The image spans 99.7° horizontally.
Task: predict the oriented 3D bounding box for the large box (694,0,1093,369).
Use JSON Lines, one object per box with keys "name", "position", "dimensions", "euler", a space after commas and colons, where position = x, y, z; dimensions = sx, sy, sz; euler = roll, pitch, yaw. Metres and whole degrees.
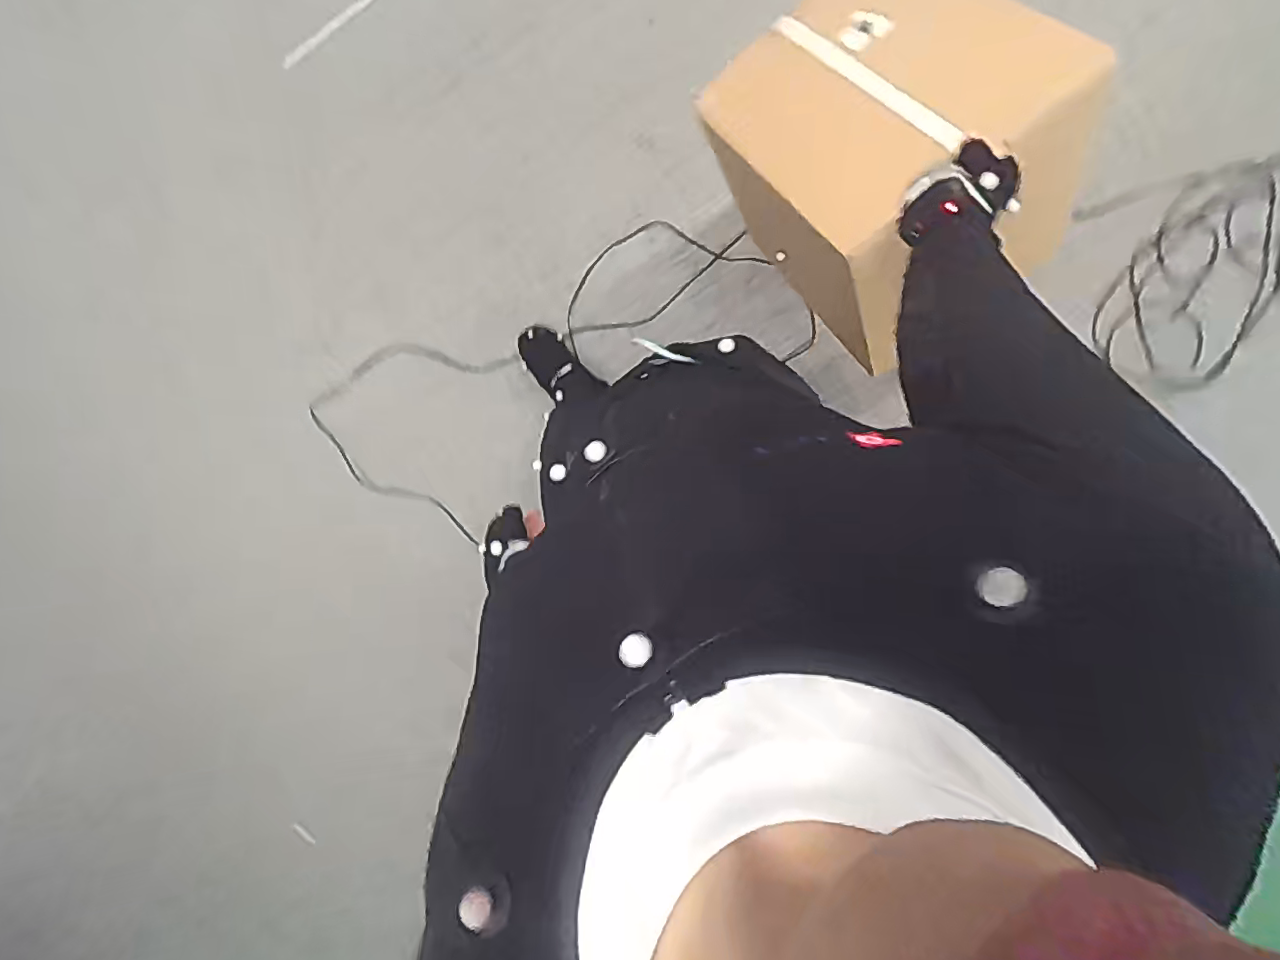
{"name": "large box", "position": [0.352, -0.452, 0.822], "dimensions": [0.320, 0.320, 0.408], "euler": [-36, 59, 14]}
